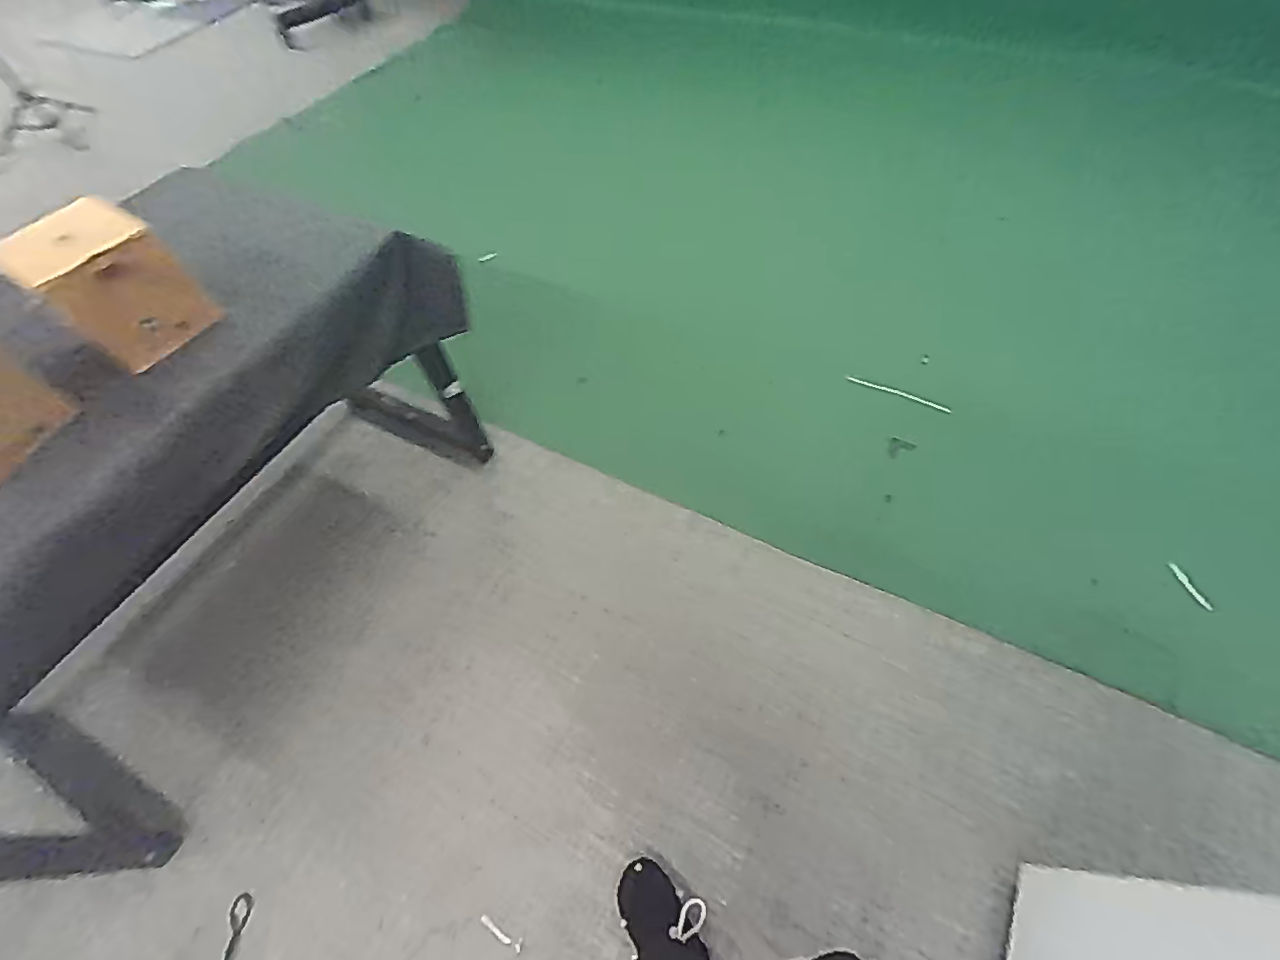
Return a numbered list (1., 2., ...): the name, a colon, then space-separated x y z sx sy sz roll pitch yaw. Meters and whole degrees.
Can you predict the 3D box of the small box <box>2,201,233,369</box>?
1. small box: -0.816 -0.306 0.863 0.179 0.176 0.168 28 63 20
